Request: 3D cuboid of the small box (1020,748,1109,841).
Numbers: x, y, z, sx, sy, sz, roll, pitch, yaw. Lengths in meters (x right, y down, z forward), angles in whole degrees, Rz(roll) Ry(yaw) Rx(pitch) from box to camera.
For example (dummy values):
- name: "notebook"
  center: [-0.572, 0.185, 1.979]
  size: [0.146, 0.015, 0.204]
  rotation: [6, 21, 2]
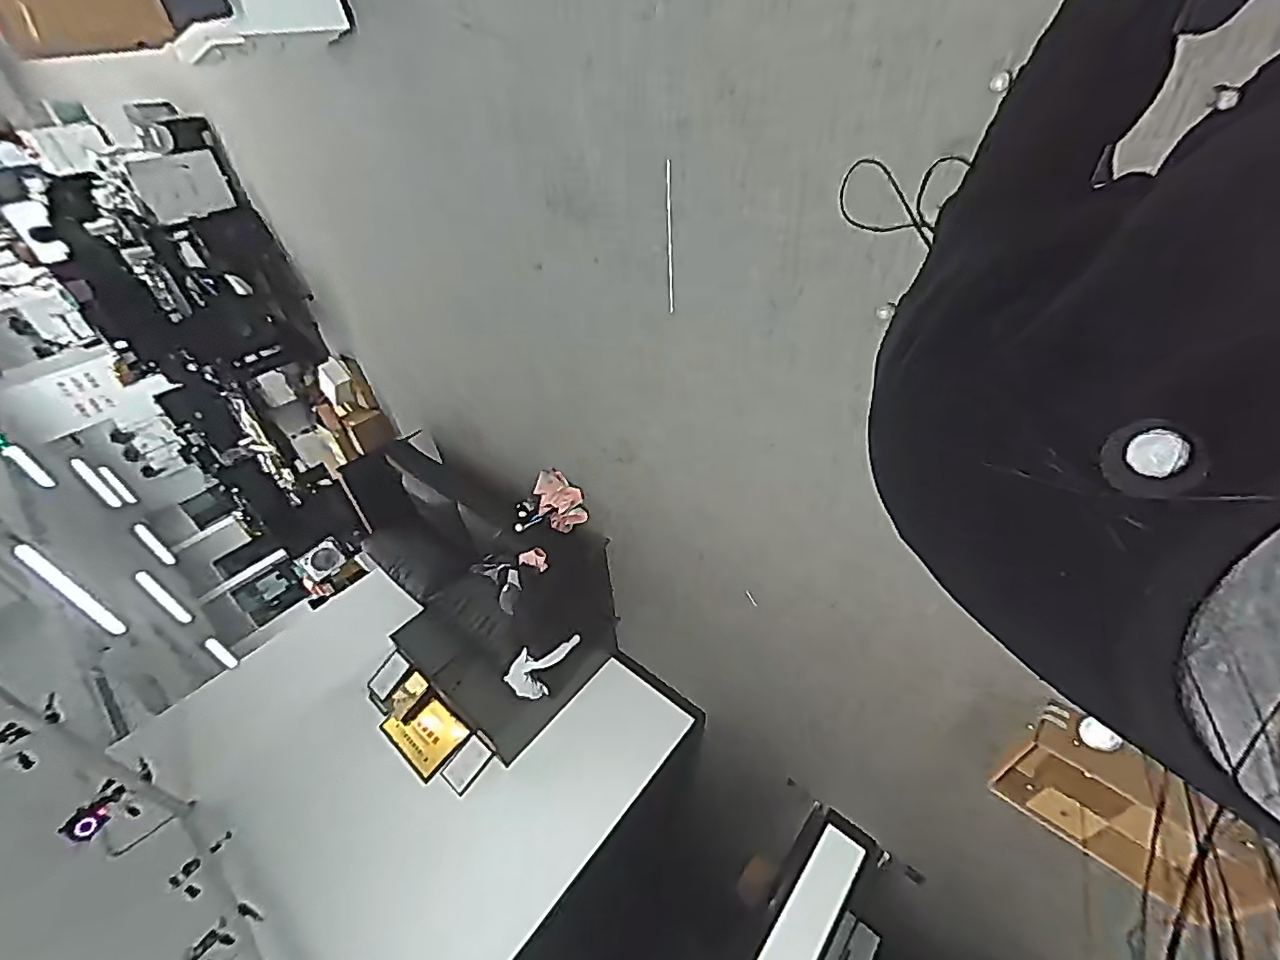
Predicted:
- name: "small box"
  center: [1.393, 1.026, 1.771]
  size: [0.168, 0.176, 0.179]
  rotation: [29, 139, 29]
